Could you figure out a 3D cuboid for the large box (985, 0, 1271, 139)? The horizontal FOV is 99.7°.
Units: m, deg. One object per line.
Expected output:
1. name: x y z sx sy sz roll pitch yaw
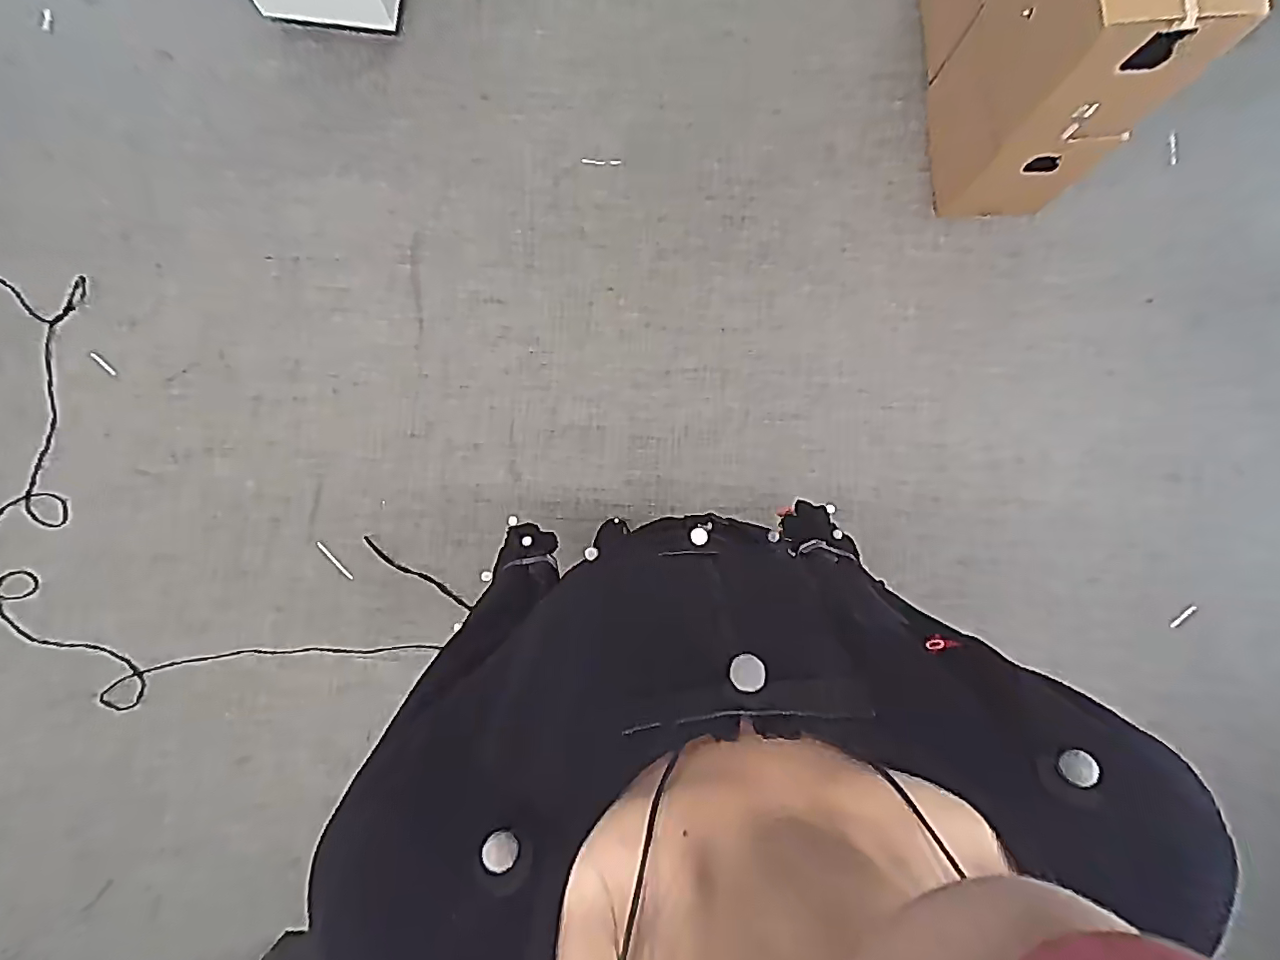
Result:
1. large box: 1.014 -1.044 1.176 0.320 0.320 0.408 -3 84 1
